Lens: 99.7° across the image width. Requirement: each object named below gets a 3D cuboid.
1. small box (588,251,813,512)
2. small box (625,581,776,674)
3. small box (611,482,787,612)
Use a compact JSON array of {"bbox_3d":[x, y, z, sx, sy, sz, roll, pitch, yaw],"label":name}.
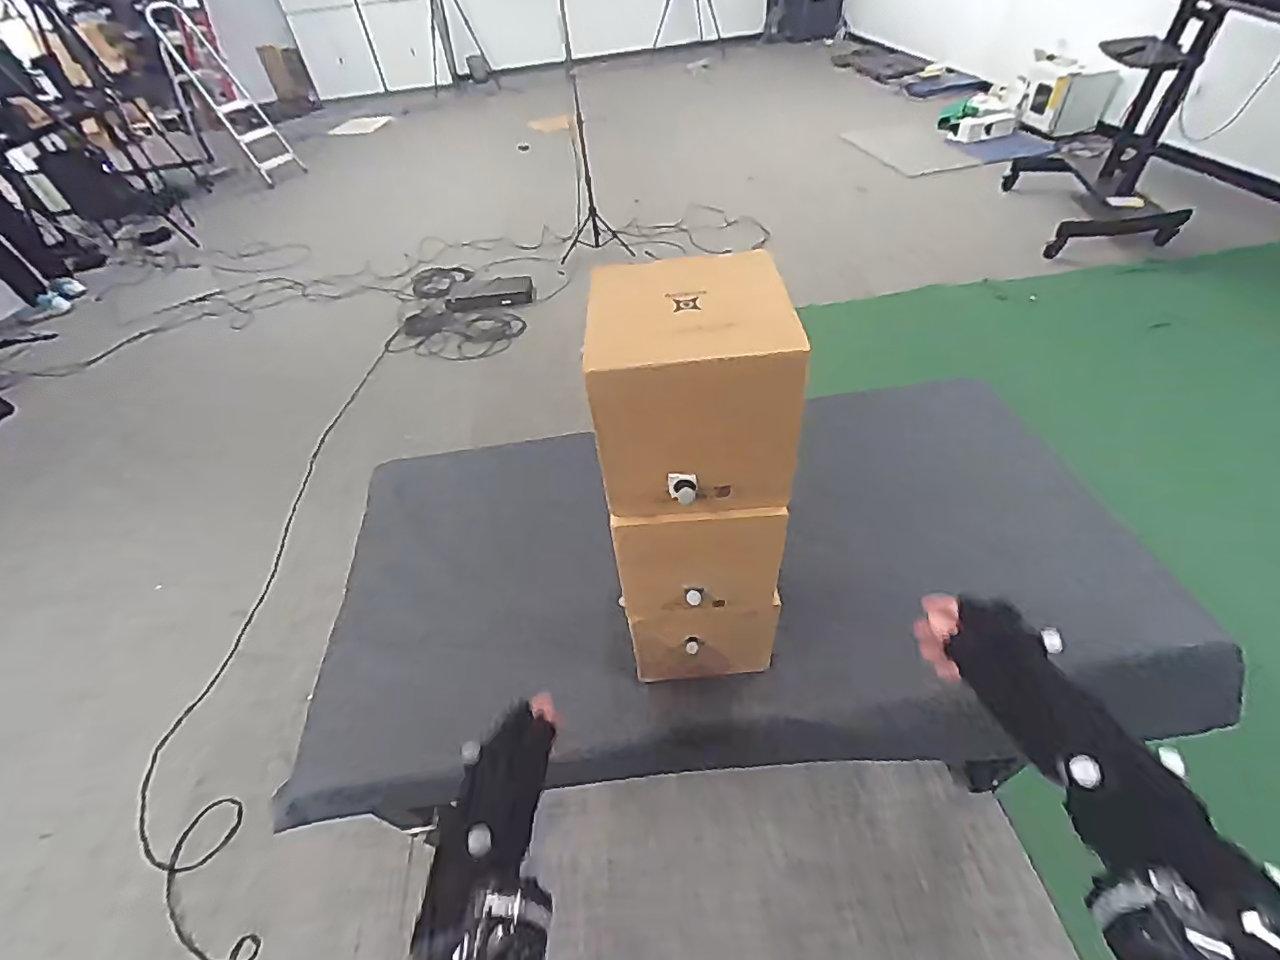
[{"bbox_3d":[0.049,-0.089,0.504,0.168,0.176,0.179,-5,46,4],"label":"small box"},{"bbox_3d":[0.075,0.146,0.729,0.179,0.176,0.168,-6,46,2],"label":"small box"},{"bbox_3d":[0.061,0.030,0.613,0.168,0.176,0.179,-3,46,4],"label":"small box"}]
